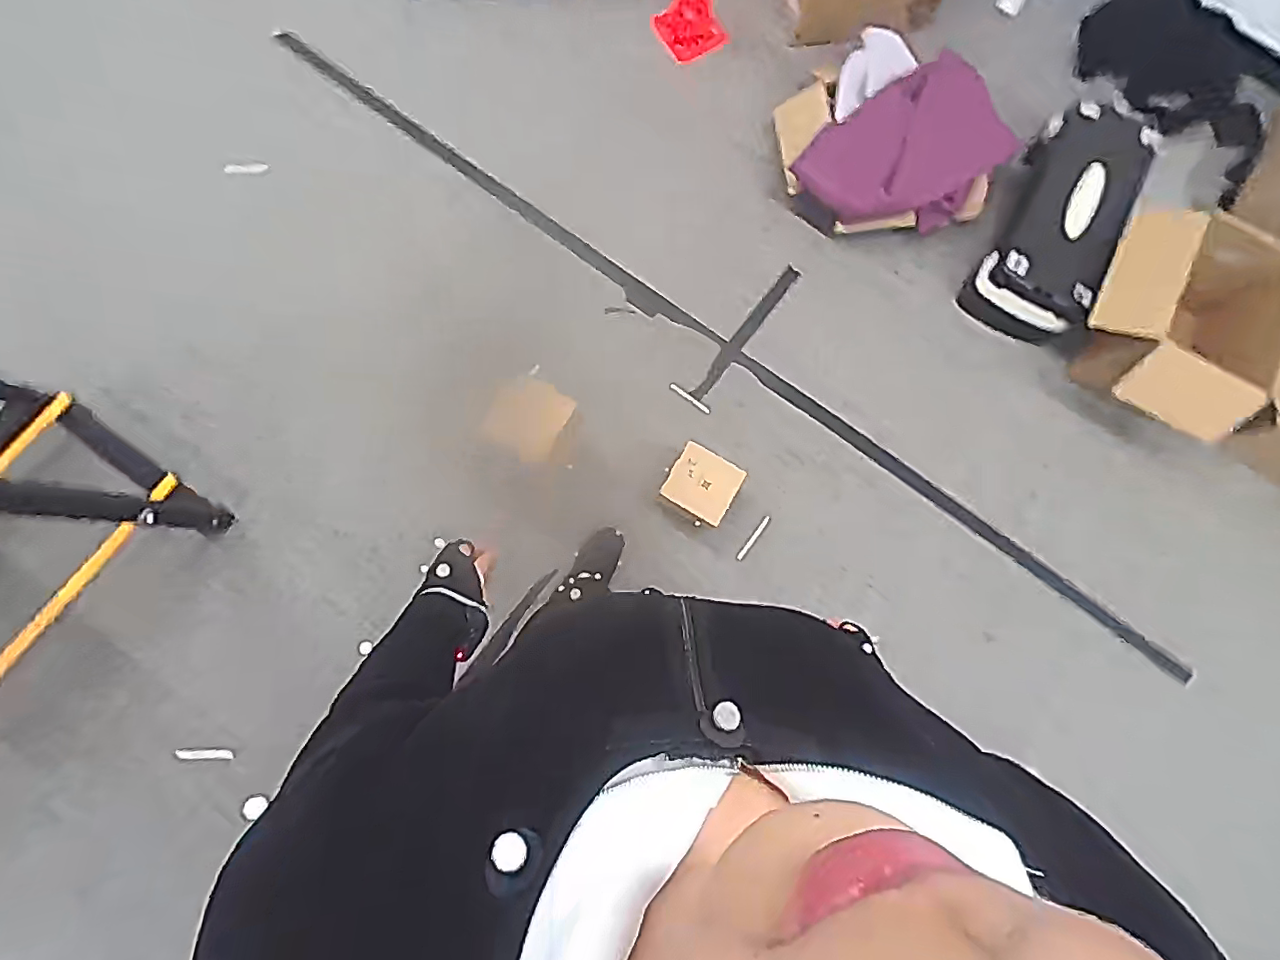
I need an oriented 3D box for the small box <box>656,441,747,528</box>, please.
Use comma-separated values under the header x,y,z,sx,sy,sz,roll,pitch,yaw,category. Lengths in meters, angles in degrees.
x,y,z,sx,sy,sz,roll,pitch,yaw,category
0.160,0.018,1.470,0.179,0.176,0.168,31,81,2,small box
